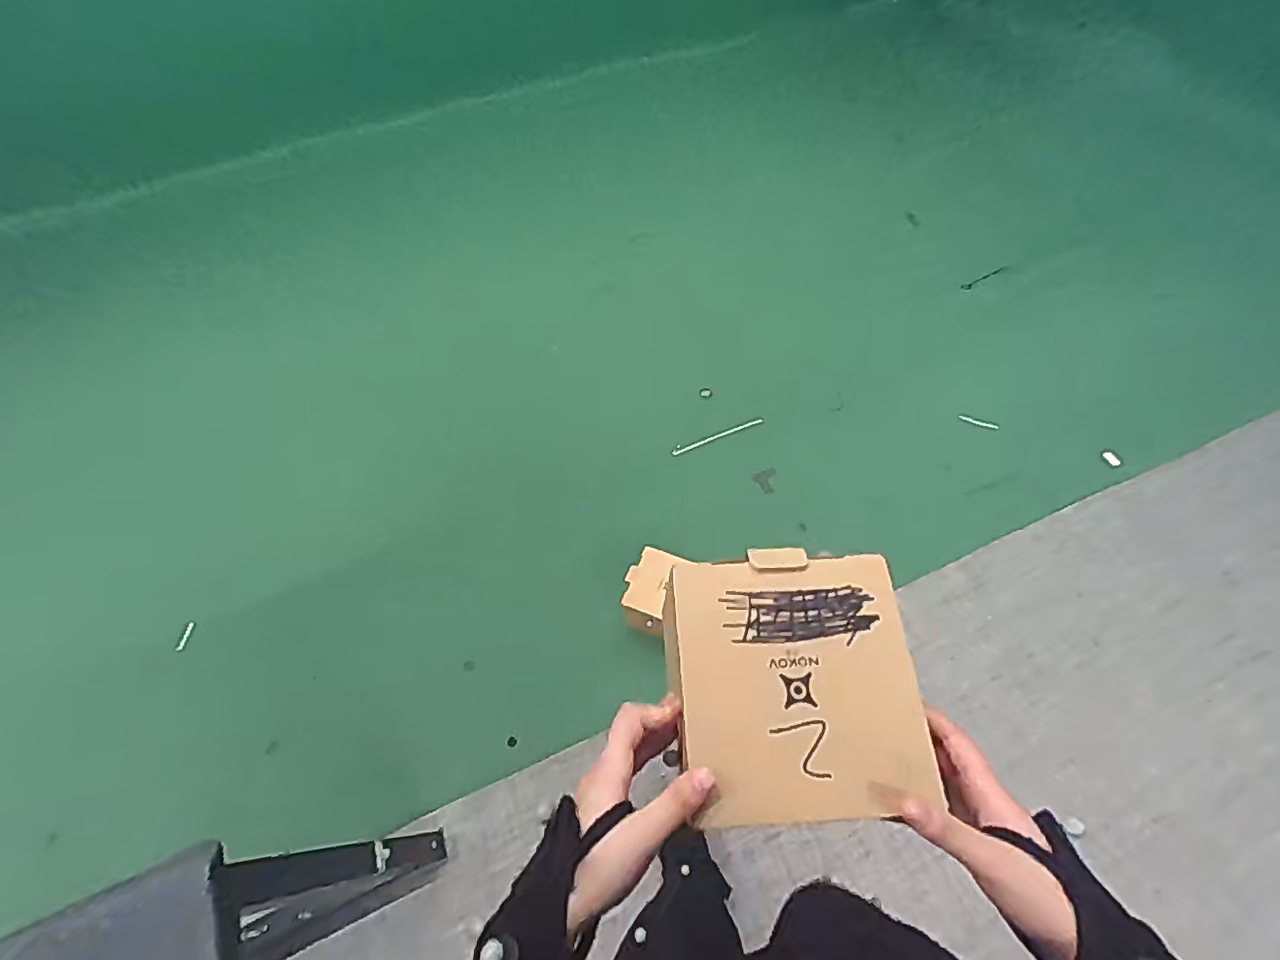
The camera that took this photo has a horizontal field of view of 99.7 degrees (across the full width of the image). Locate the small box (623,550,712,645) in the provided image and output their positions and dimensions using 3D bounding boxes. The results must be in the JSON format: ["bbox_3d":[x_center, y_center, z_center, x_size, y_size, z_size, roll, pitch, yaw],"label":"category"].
[{"bbox_3d":[0.073,0.306,1.380,0.179,0.176,0.168,18,62,14],"label":"small box"}]
